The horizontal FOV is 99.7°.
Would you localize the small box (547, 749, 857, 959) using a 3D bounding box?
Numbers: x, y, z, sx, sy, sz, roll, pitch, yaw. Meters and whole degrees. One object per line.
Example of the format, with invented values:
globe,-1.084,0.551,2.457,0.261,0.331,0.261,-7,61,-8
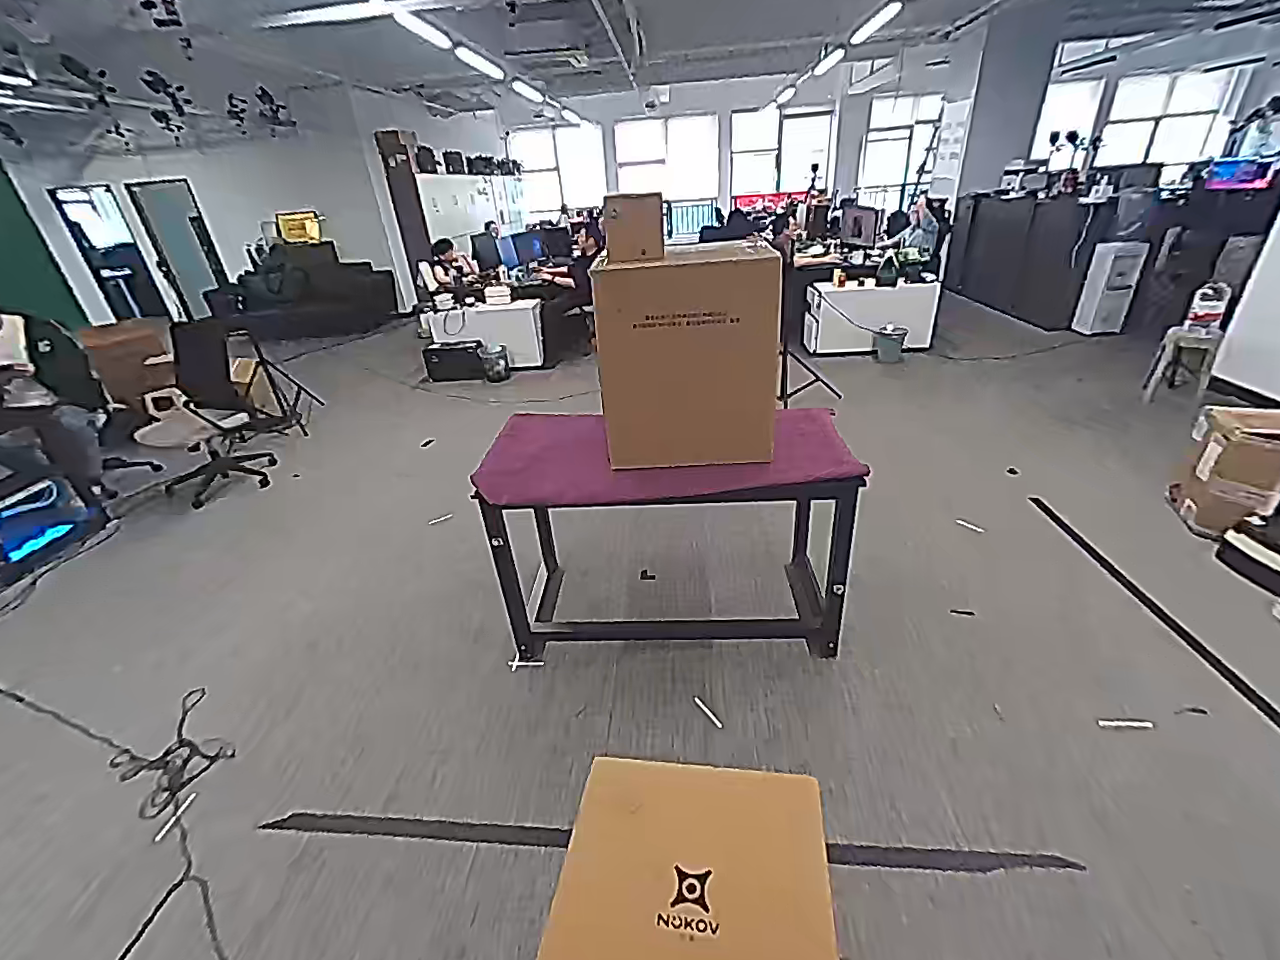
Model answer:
small box,0.045,0.313,0.351,0.168,0.176,0.179,-1,25,11
